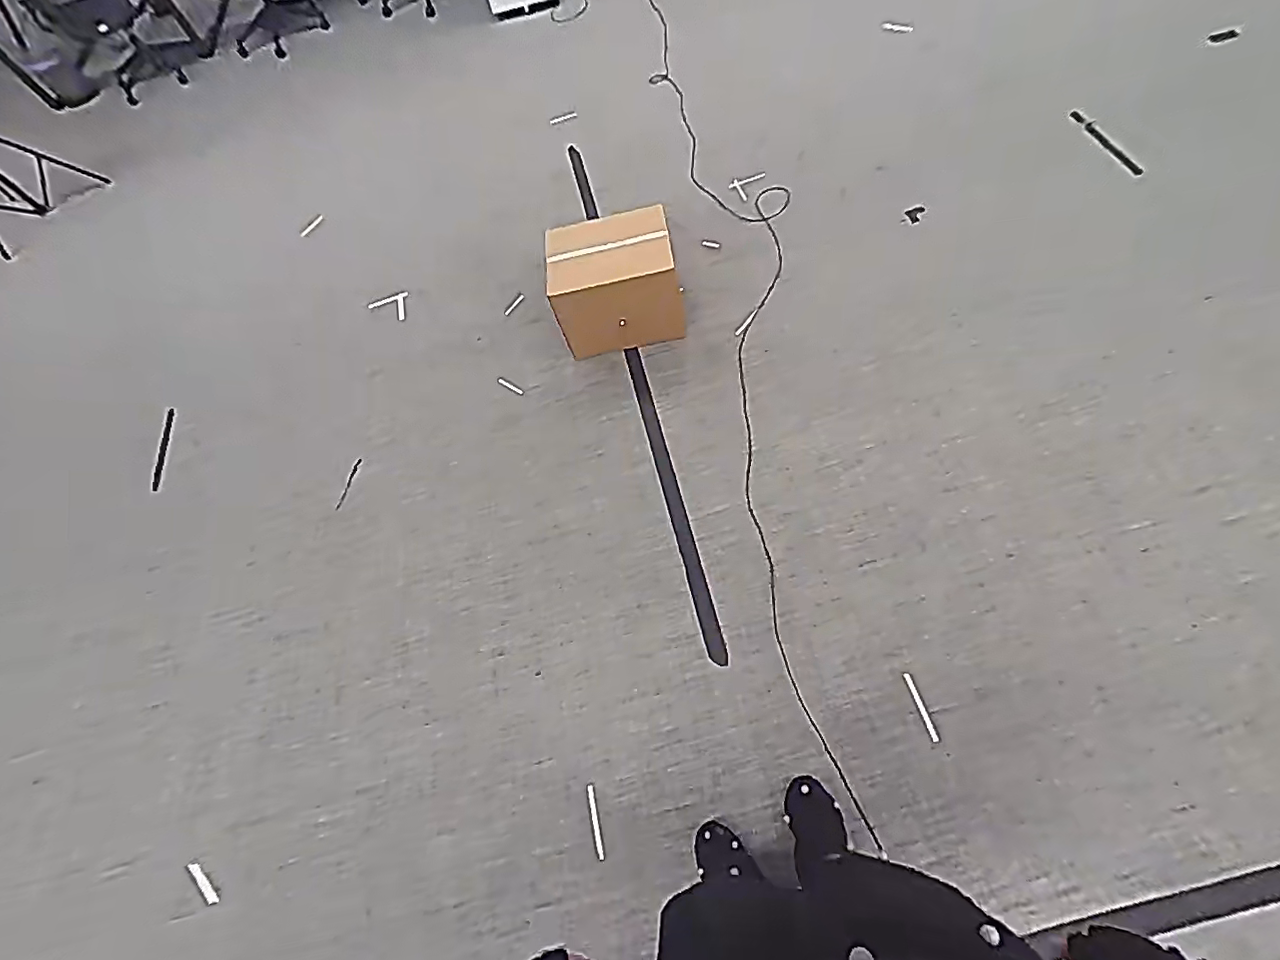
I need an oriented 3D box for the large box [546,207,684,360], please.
[{"bbox_3d":[-0.079,-0.659,1.845,0.408,0.320,0.320,-10,62,6],"label":"large box"}]
